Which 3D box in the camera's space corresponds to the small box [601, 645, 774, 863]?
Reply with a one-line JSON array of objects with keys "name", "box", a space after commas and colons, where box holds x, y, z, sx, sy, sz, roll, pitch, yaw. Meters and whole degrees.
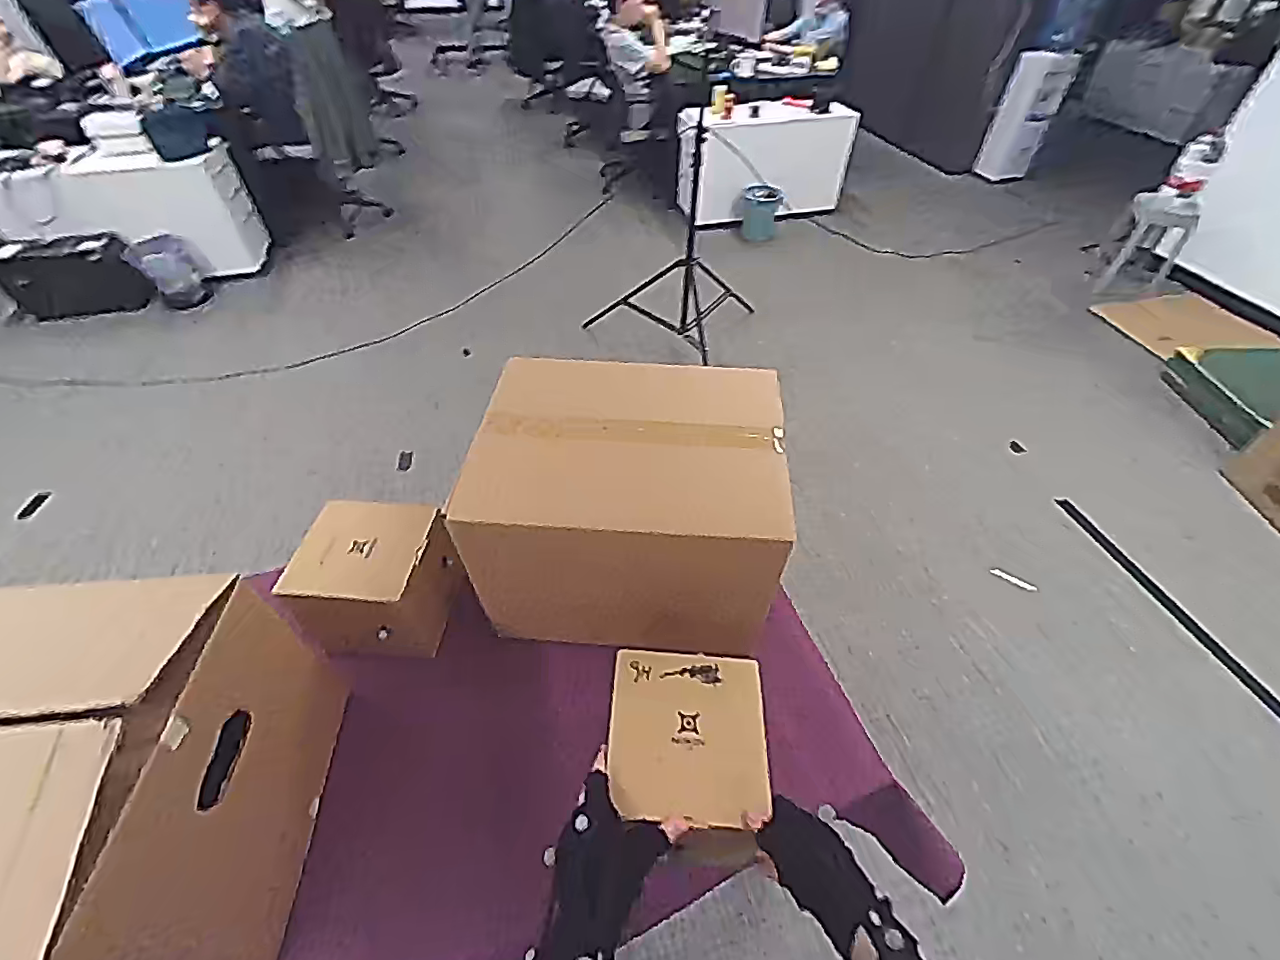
[{"name": "small box", "box": [0.049, 0.314, 0.616, 0.168, 0.176, 0.179, 6, 46, 1]}]
